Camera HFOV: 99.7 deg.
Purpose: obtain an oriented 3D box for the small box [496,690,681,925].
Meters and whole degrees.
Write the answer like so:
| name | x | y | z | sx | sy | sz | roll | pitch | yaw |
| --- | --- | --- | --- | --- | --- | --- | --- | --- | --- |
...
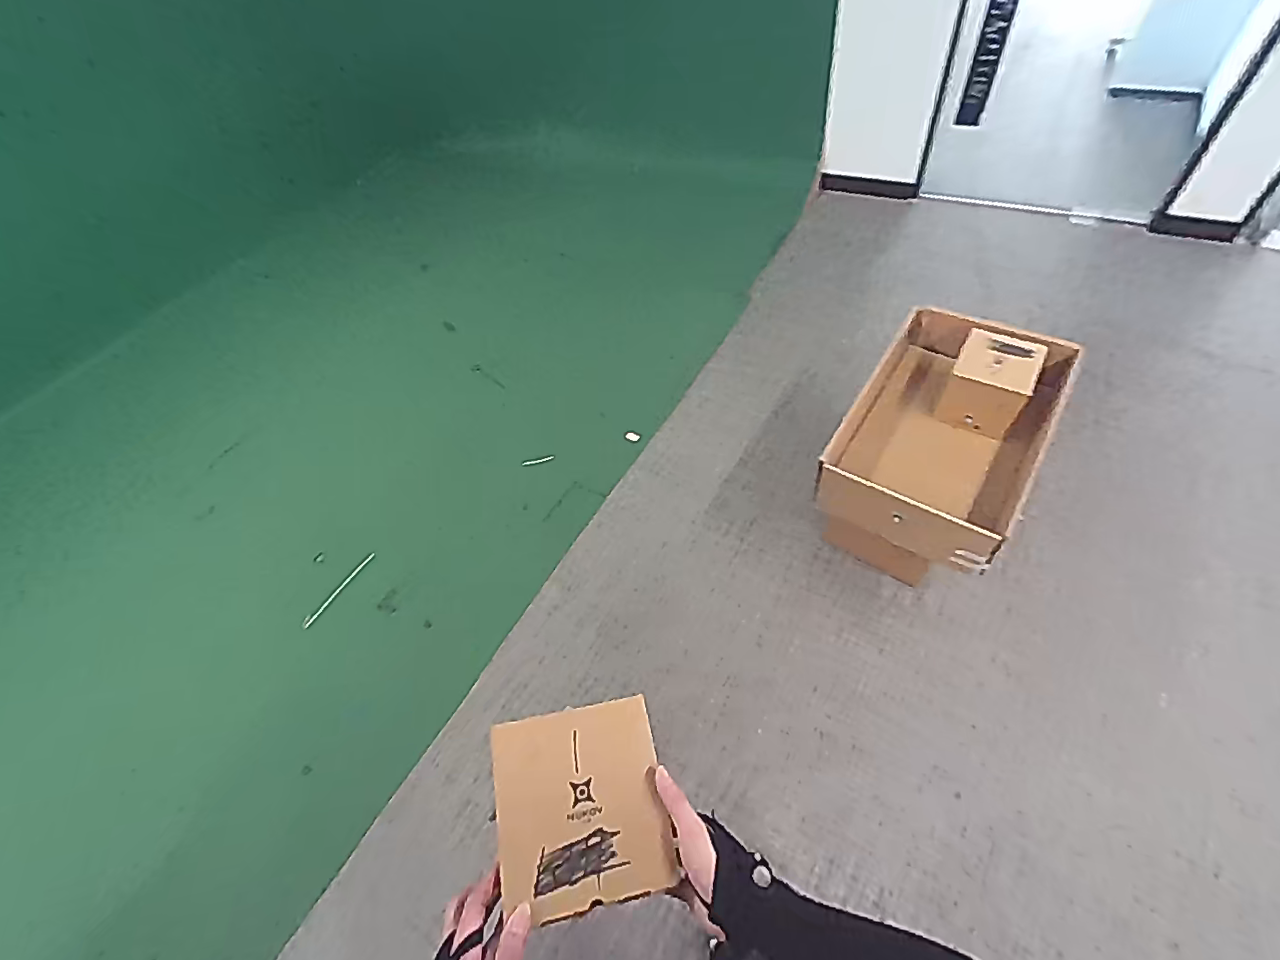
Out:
| name | x | y | z | sx | sy | sz | roll | pitch | yaw |
| --- | --- | --- | --- | --- | --- | --- | --- | --- | --- |
| small box | -0.065 | 0.349 | 0.598 | 0.168 | 0.176 | 0.179 | -5 | 60 | -13 |
